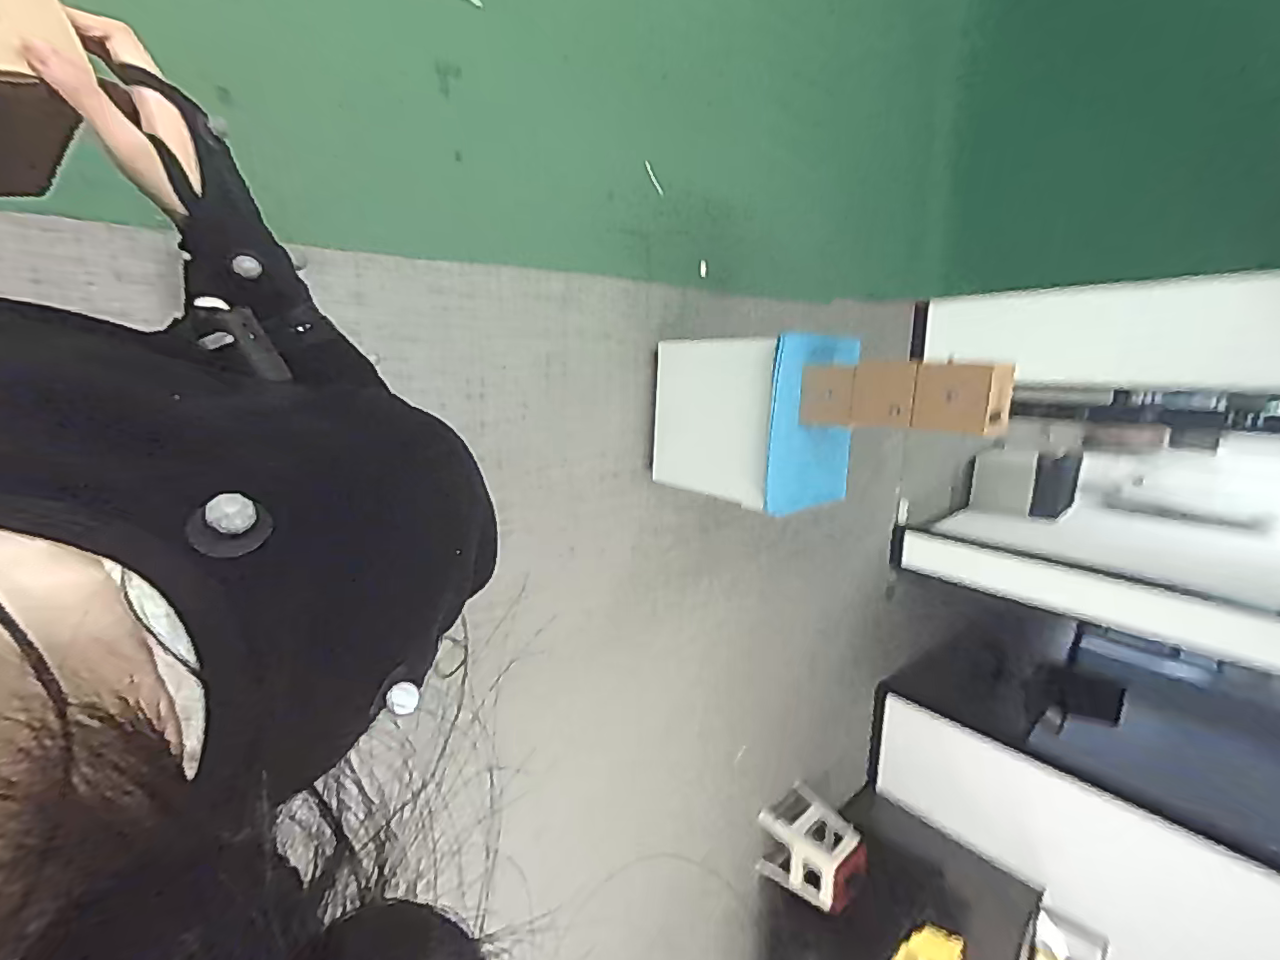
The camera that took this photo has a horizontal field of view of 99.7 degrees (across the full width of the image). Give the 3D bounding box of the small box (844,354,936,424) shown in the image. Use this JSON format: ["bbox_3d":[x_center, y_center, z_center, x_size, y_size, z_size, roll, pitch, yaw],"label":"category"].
[{"bbox_3d":[0.678,-0.253,1.479,0.168,0.176,0.179,-10,107,-41],"label":"small box"}]

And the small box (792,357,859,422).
[{"bbox_3d":[0.570,-0.272,1.602,0.168,0.176,0.179,-10,106,-41],"label":"small box"}]
